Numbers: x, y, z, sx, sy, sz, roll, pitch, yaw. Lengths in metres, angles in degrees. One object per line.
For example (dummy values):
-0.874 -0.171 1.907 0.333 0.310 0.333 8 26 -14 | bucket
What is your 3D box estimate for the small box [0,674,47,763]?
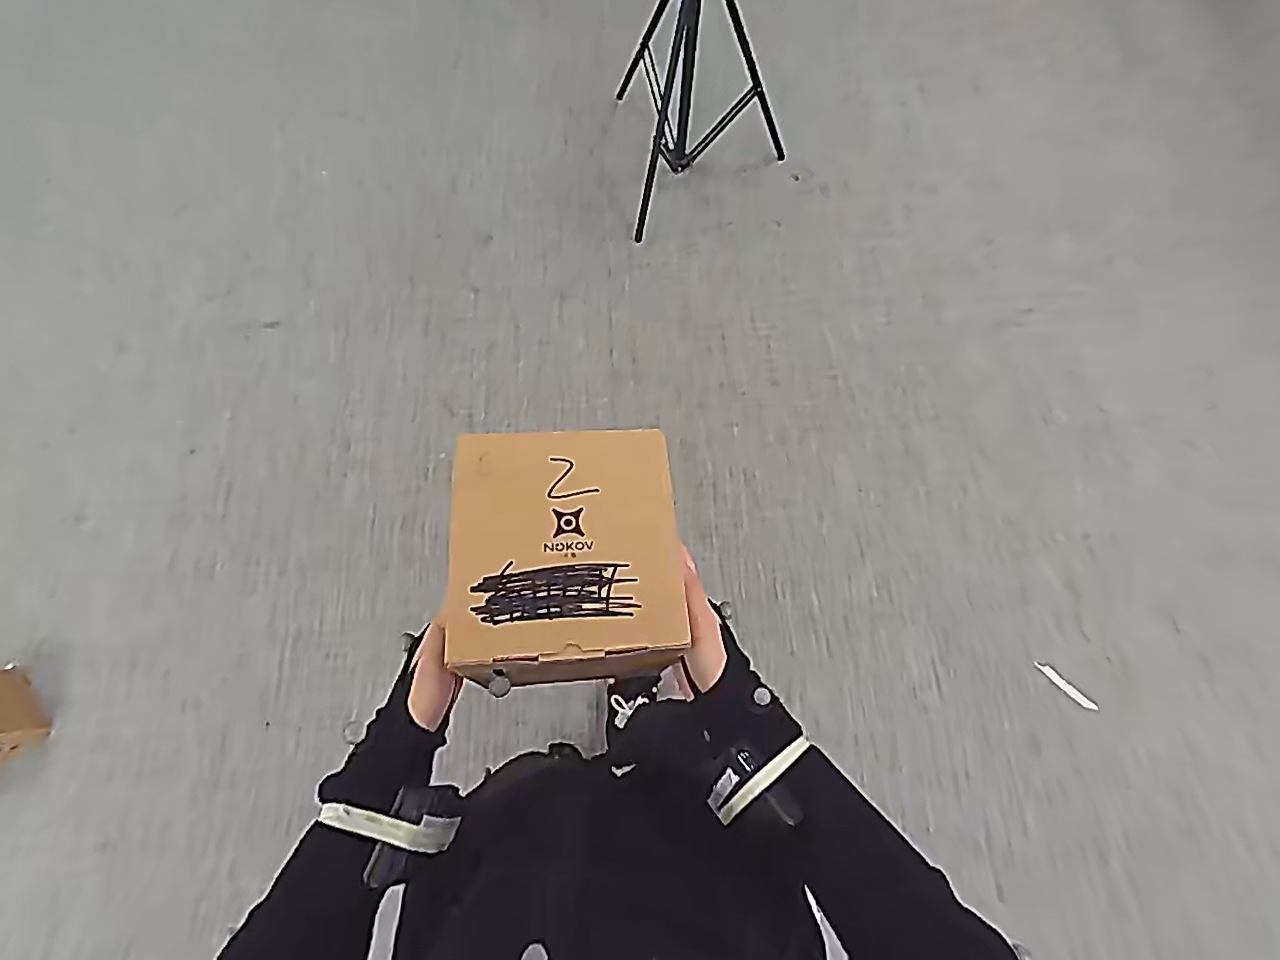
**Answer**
-1.492 0.546 1.193 0.168 0.176 0.179 -39 76 -13 | small box
